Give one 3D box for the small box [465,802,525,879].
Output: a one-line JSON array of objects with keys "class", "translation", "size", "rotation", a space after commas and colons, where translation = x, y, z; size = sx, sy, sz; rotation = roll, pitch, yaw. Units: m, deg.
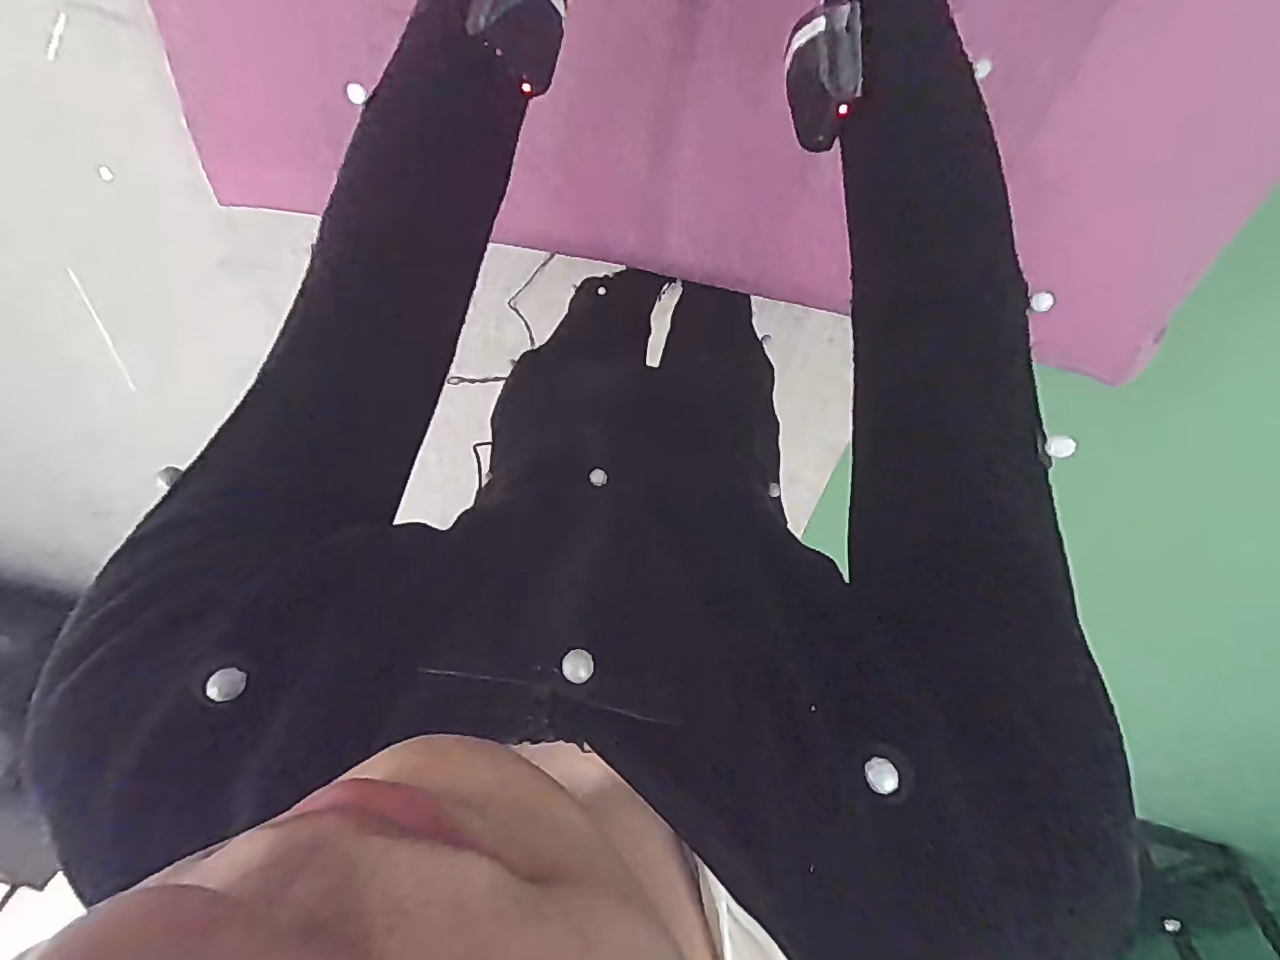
[{"class": "small box", "translation": [-0.529, 1.321, 1.983], "size": [0.168, 0.176, 0.179], "rotation": [14, 127, 1]}]
